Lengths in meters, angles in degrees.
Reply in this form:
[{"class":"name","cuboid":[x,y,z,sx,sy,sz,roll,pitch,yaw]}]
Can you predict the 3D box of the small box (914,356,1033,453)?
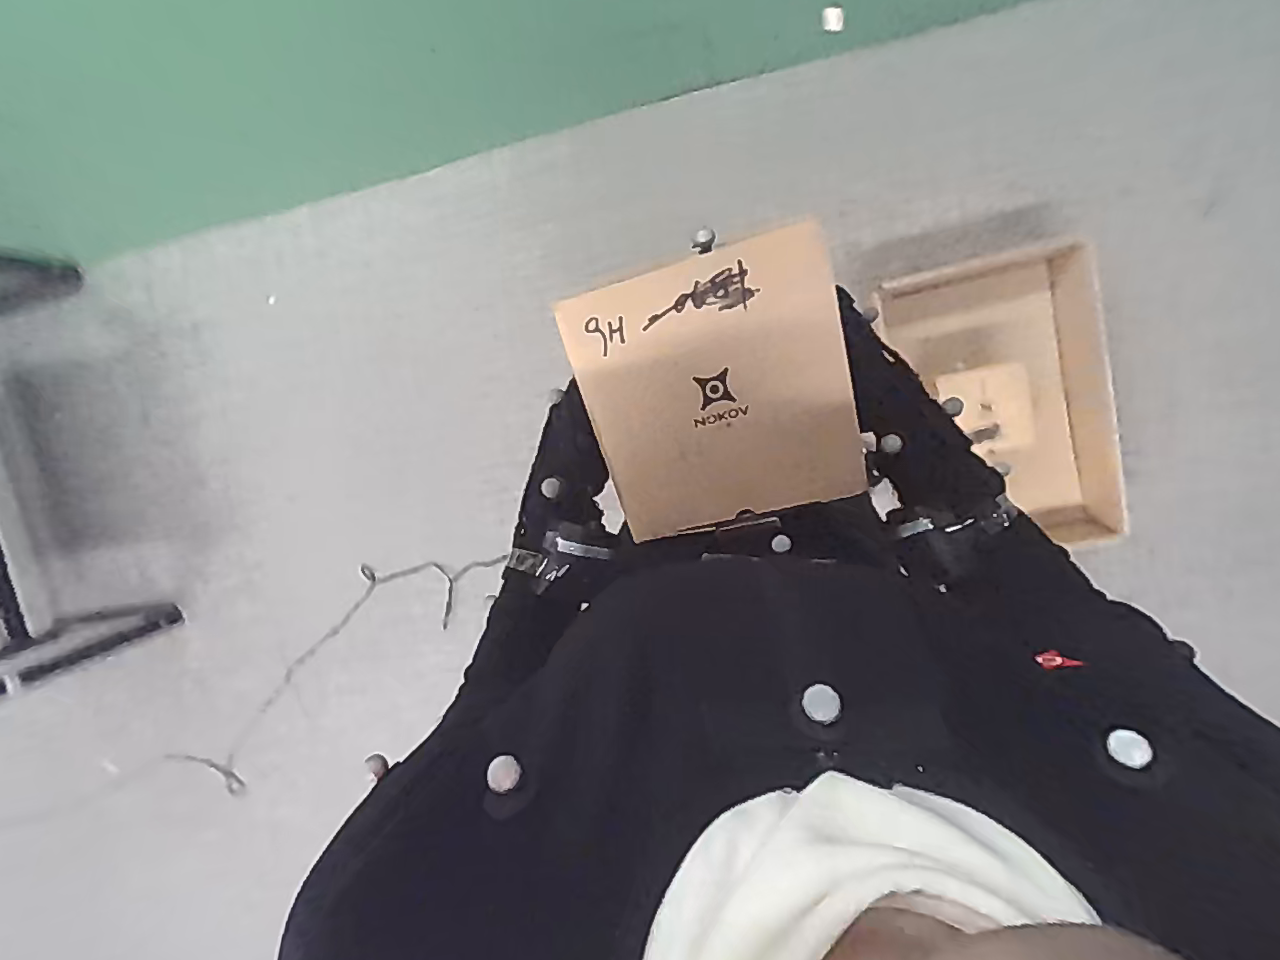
[{"class":"small box","cuboid":[0.711,-0.163,1.168,0.168,0.176,0.179,-9,96,12]}]
